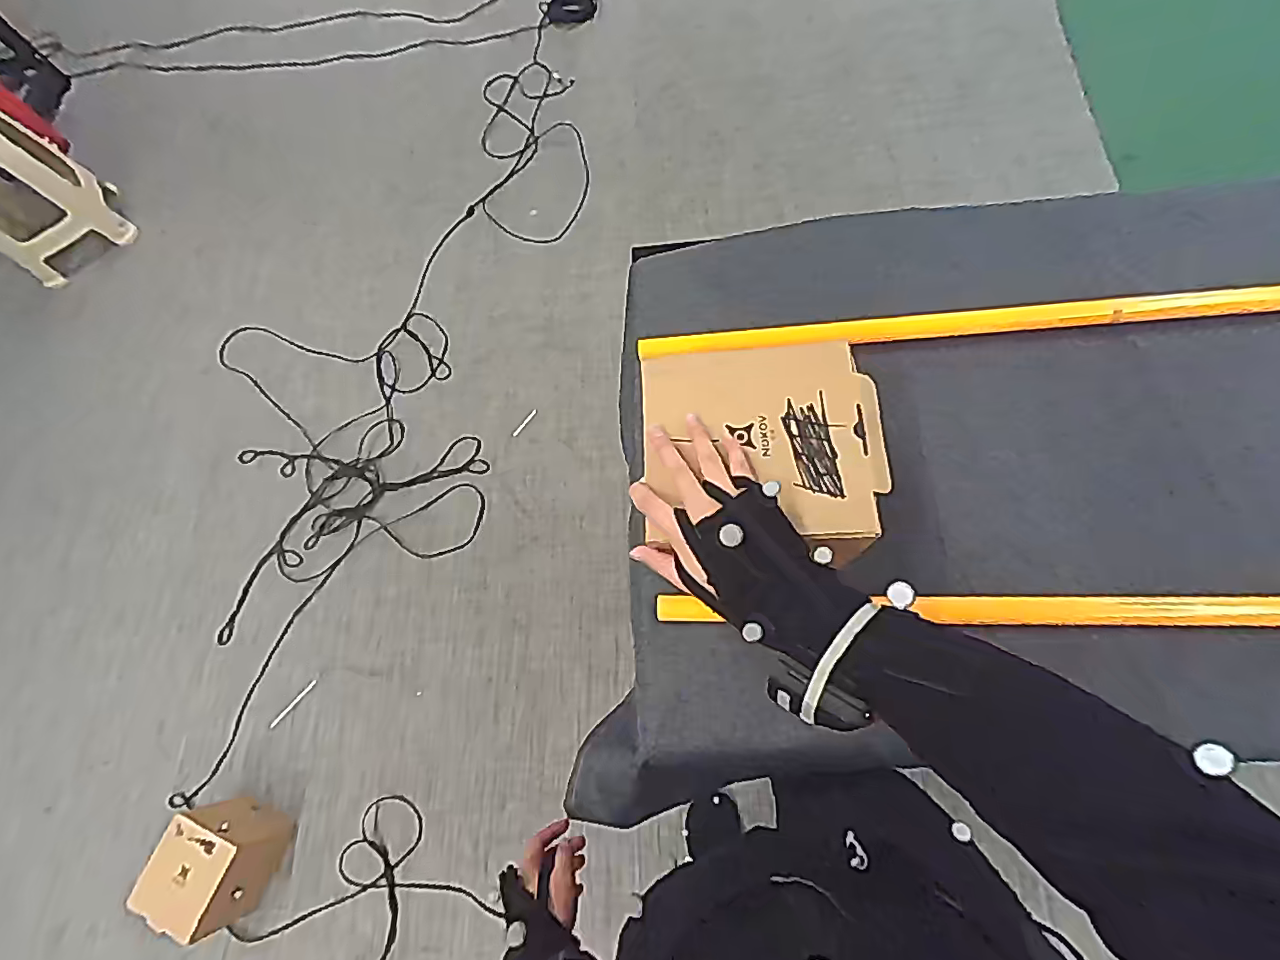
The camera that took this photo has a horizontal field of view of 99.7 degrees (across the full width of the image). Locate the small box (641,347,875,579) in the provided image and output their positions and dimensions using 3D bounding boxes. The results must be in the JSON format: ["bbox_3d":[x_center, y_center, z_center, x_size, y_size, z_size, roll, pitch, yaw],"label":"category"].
[{"bbox_3d":[0.097,-0.004,0.506,0.179,0.176,0.168,-3,69,7],"label":"small box"}]

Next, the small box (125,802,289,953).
[{"bbox_3d":[-0.880,0.806,1.120,0.168,0.176,0.179,18,73,14],"label":"small box"}]
